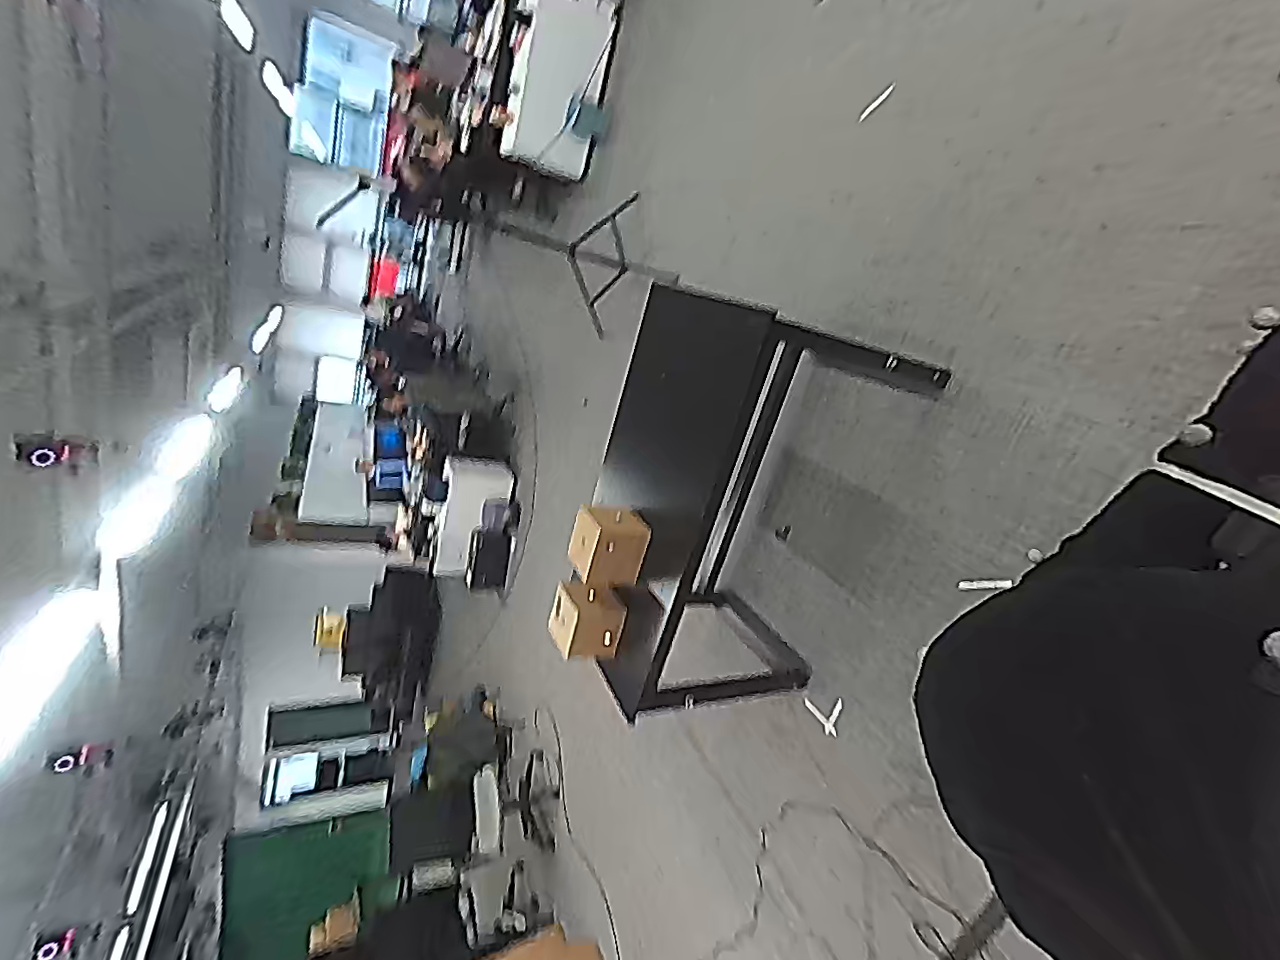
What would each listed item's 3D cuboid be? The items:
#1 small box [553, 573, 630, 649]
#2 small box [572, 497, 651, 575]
[{"bbox_3d":[-0.155,0.411,1.708,0.179,0.176,0.168,41,120,54],"label":"small box"},{"bbox_3d":[-0.084,0.168,1.623,0.168,0.176,0.179,45,123,55],"label":"small box"}]
